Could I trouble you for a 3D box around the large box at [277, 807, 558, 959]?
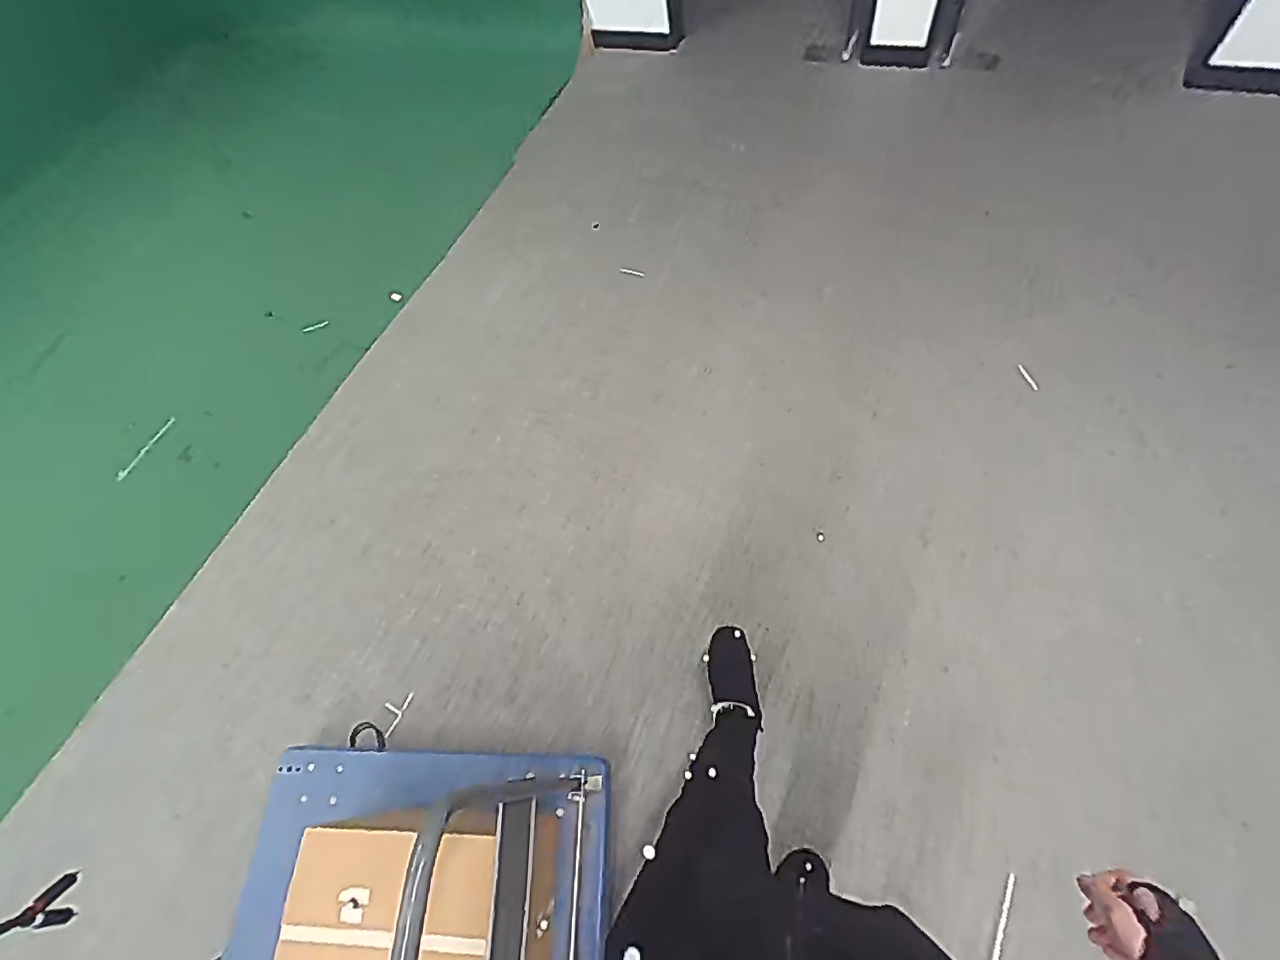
[{"bbox_3d":[-0.402,0.839,1.054,0.408,0.320,0.320,-4,64,11],"label":"large box"}]
